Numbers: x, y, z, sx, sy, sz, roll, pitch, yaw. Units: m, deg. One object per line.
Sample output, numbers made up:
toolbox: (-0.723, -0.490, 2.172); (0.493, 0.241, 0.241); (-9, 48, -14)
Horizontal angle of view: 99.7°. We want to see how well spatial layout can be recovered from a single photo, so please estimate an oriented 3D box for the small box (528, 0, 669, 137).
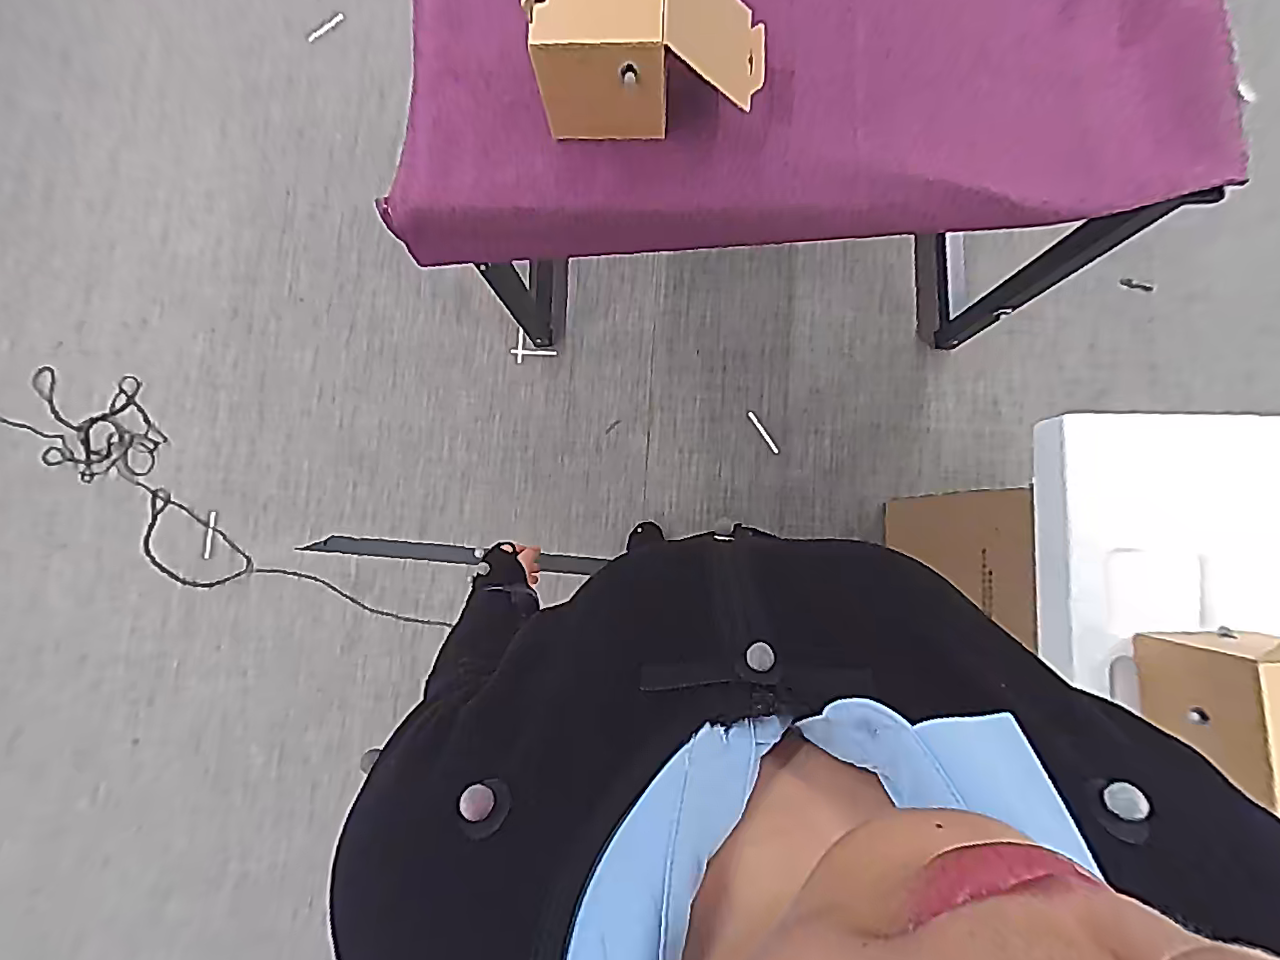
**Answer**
small box: (-0.048, -0.621, 0.770); (0.179, 0.176, 0.168); (2, 84, 4)
